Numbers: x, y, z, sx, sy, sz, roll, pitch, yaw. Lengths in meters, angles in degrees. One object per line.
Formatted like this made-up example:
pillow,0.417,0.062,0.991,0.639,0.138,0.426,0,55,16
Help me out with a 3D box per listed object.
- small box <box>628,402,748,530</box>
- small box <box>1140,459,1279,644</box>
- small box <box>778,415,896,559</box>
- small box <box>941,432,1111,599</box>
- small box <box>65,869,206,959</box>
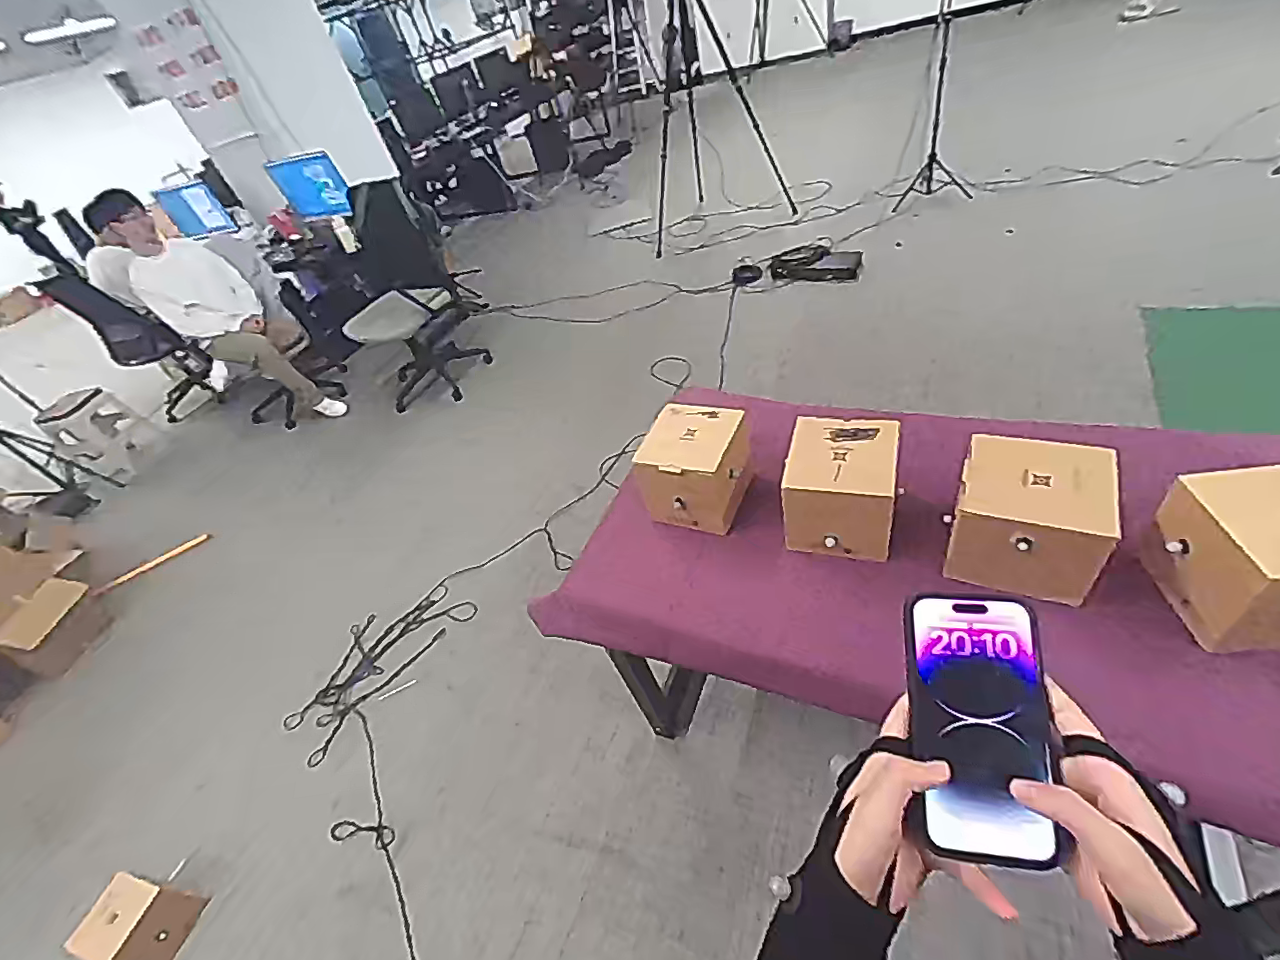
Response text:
small box,0.103,-0.027,1.051,0.168,0.176,0.179,10,50,28
small box,0.787,0.092,0.681,0.179,0.176,0.168,-7,43,13
small box,0.339,0.009,0.928,0.168,0.176,0.179,5,48,25
small box,0.563,0.052,0.805,0.179,0.176,0.168,12,51,29
small box,-1.303,1.149,1.411,0.179,0.176,0.168,1,47,21
